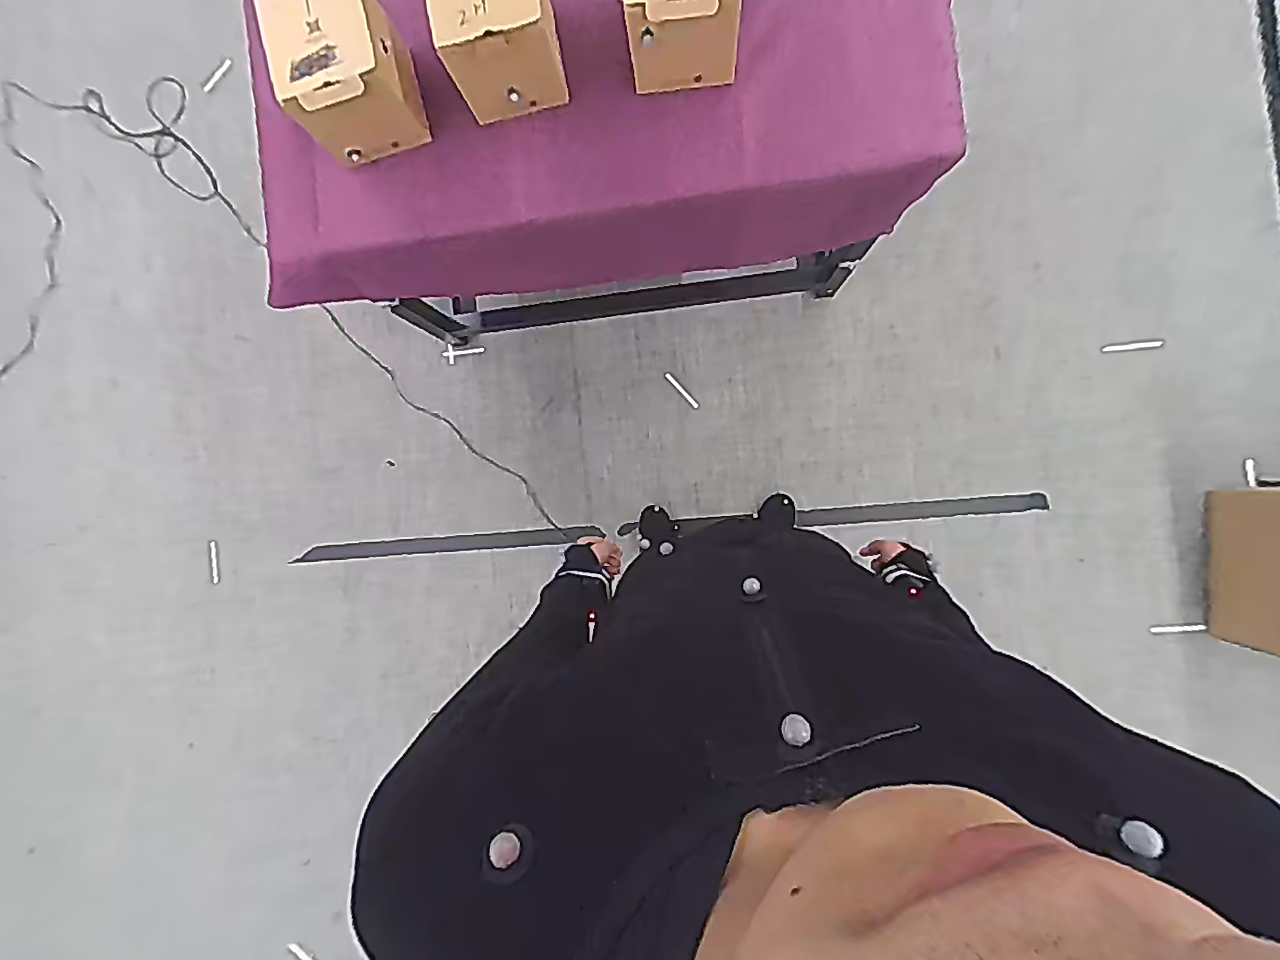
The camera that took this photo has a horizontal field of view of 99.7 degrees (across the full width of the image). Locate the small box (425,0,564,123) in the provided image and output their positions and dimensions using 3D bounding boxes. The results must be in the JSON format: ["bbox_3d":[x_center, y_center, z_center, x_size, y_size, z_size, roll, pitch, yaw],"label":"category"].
[{"bbox_3d":[-0.229,-0.721,0.862,0.168,0.176,0.179,-11,89,6],"label":"small box"}]

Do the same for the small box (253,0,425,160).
[{"bbox_3d":[-0.478,-0.661,0.885,0.168,0.176,0.179,-15,88,5],"label":"small box"}]
